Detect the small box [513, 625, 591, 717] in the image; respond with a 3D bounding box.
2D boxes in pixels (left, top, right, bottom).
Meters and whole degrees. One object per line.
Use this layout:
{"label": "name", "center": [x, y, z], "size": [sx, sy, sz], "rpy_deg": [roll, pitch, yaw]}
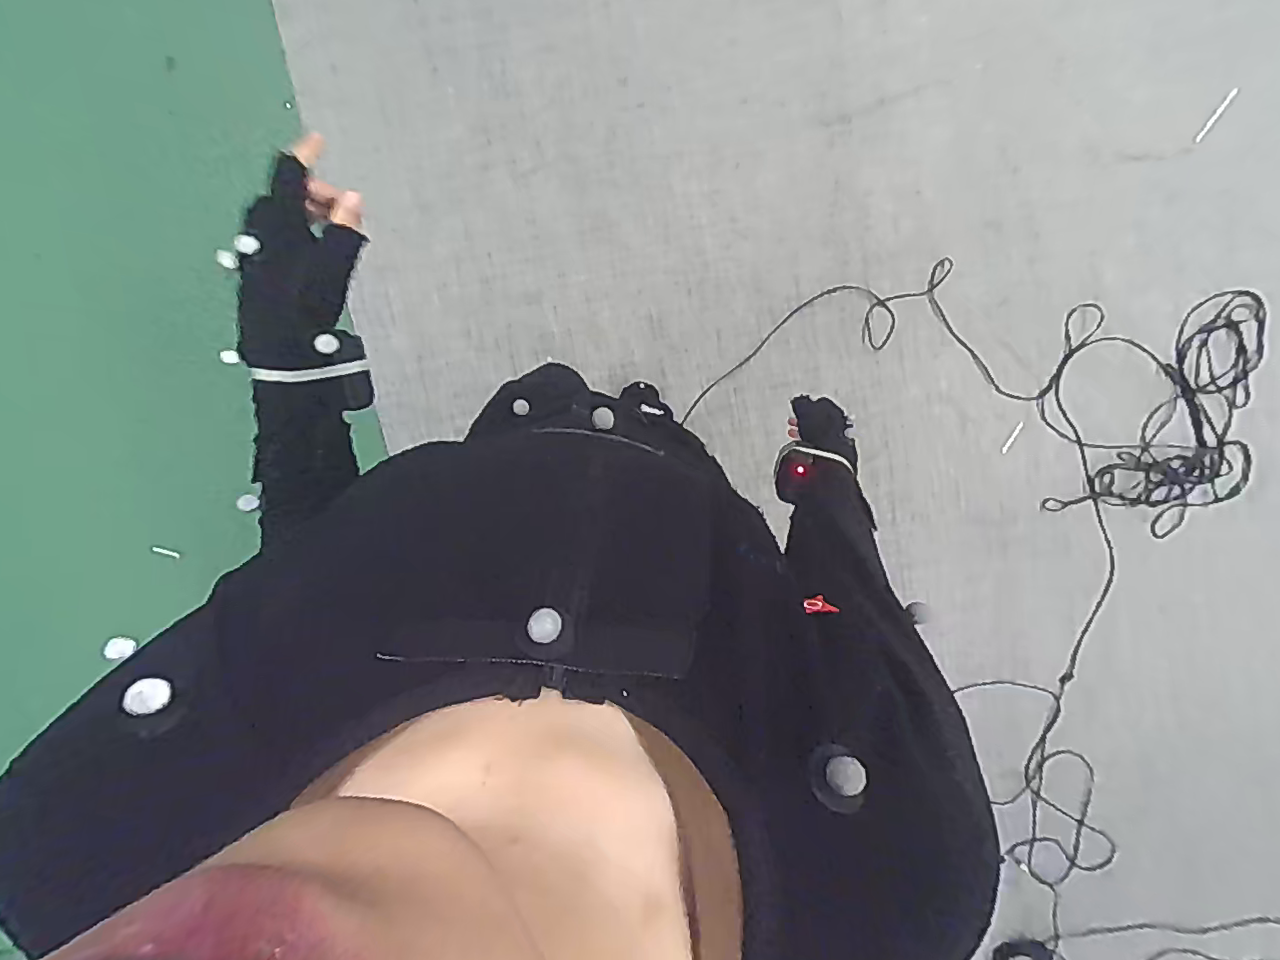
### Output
{"label": "small box", "center": [-0.233, 0.510, 1.474], "size": [0.168, 0.176, 0.179], "rpy_deg": [-9, 99, 3]}
